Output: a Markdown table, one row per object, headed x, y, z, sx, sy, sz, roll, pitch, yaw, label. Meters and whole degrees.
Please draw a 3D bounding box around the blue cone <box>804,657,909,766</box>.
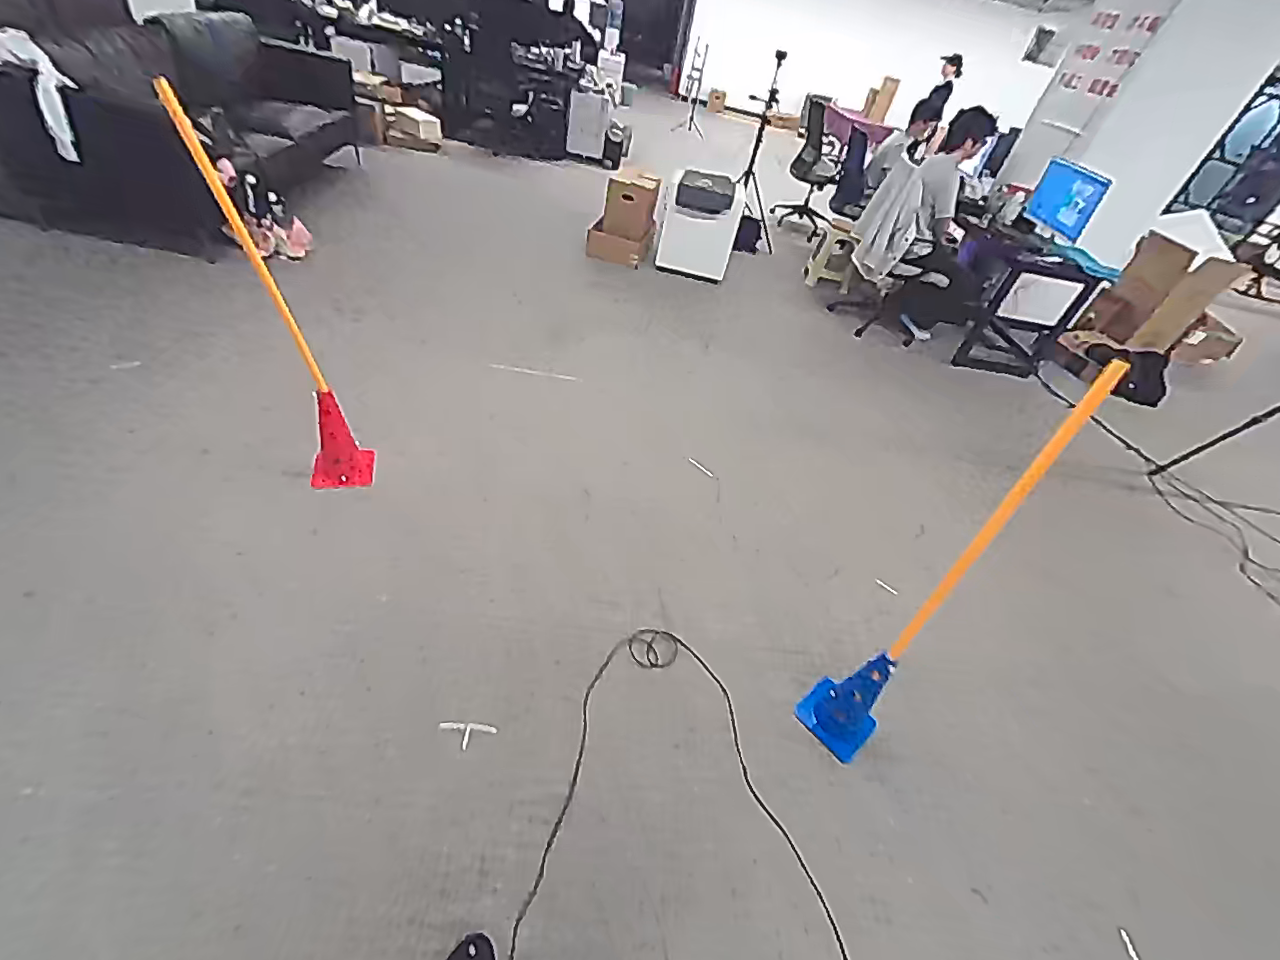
| x | y | z | sx | sy | sz | roll | pitch | yaw | label |
| --- | --- | --- | --- | --- | --- | --- | --- | --- | --- |
| 0.632 | 0.605 | 1.514 | 0.193 | 0.380 | 0.192 | -25 | 54 | -39 | blue cone |
